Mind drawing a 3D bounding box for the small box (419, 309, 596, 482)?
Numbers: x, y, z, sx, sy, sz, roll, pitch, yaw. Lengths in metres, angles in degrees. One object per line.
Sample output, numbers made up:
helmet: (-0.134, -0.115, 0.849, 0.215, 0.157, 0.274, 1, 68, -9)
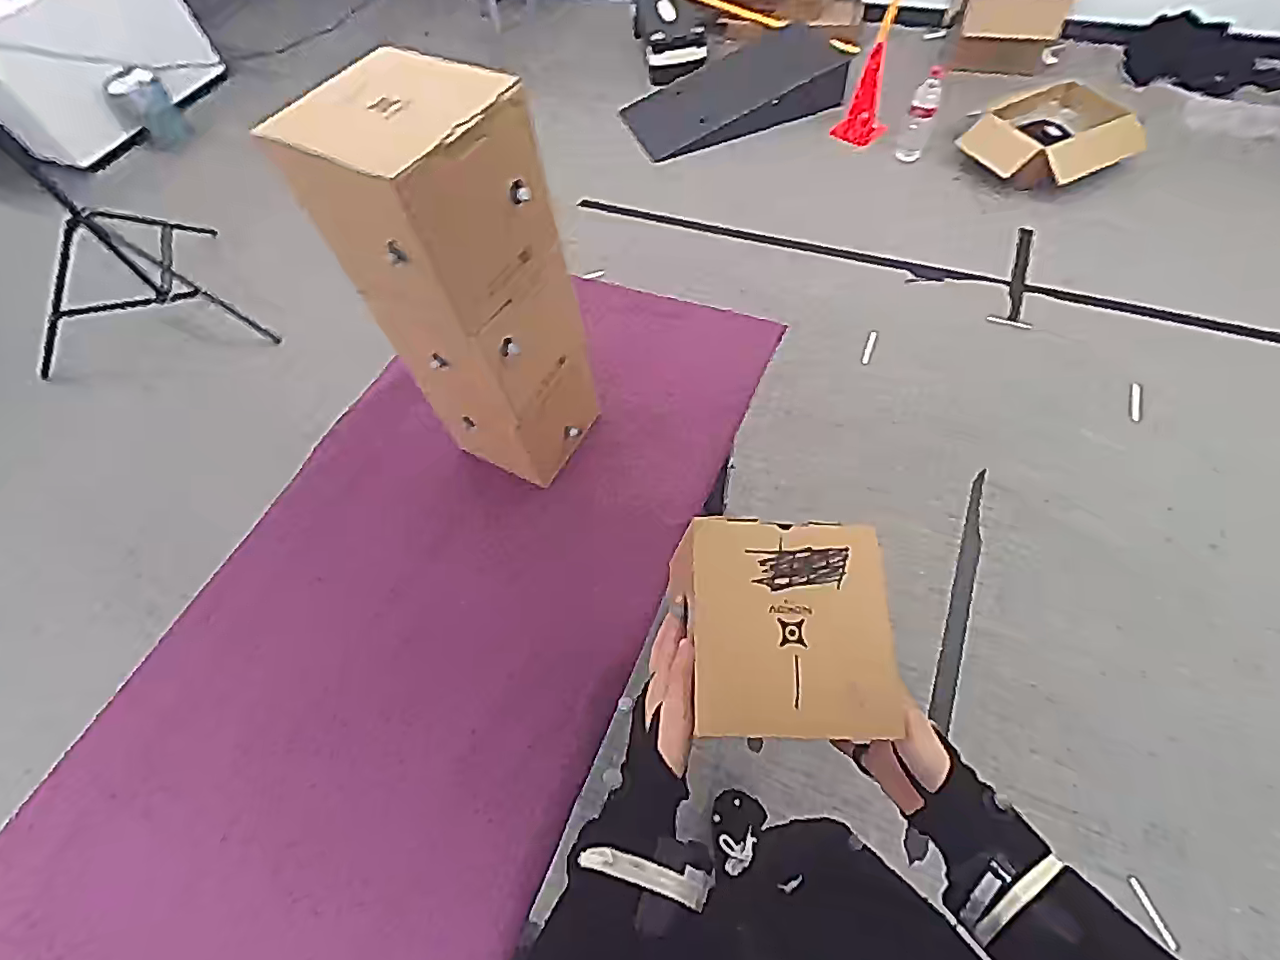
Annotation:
small box: (-0.187, -0.121, 0.819, 0.179, 0.176, 0.168, 24, 66, 17)

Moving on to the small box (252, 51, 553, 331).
small box: (-0.210, -0.275, 0.532, 0.179, 0.176, 0.168, 25, 65, 19)

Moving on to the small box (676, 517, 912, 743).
small box: (0.124, 0.147, 0.513, 0.168, 0.176, 0.179, 2, 68, -2)
